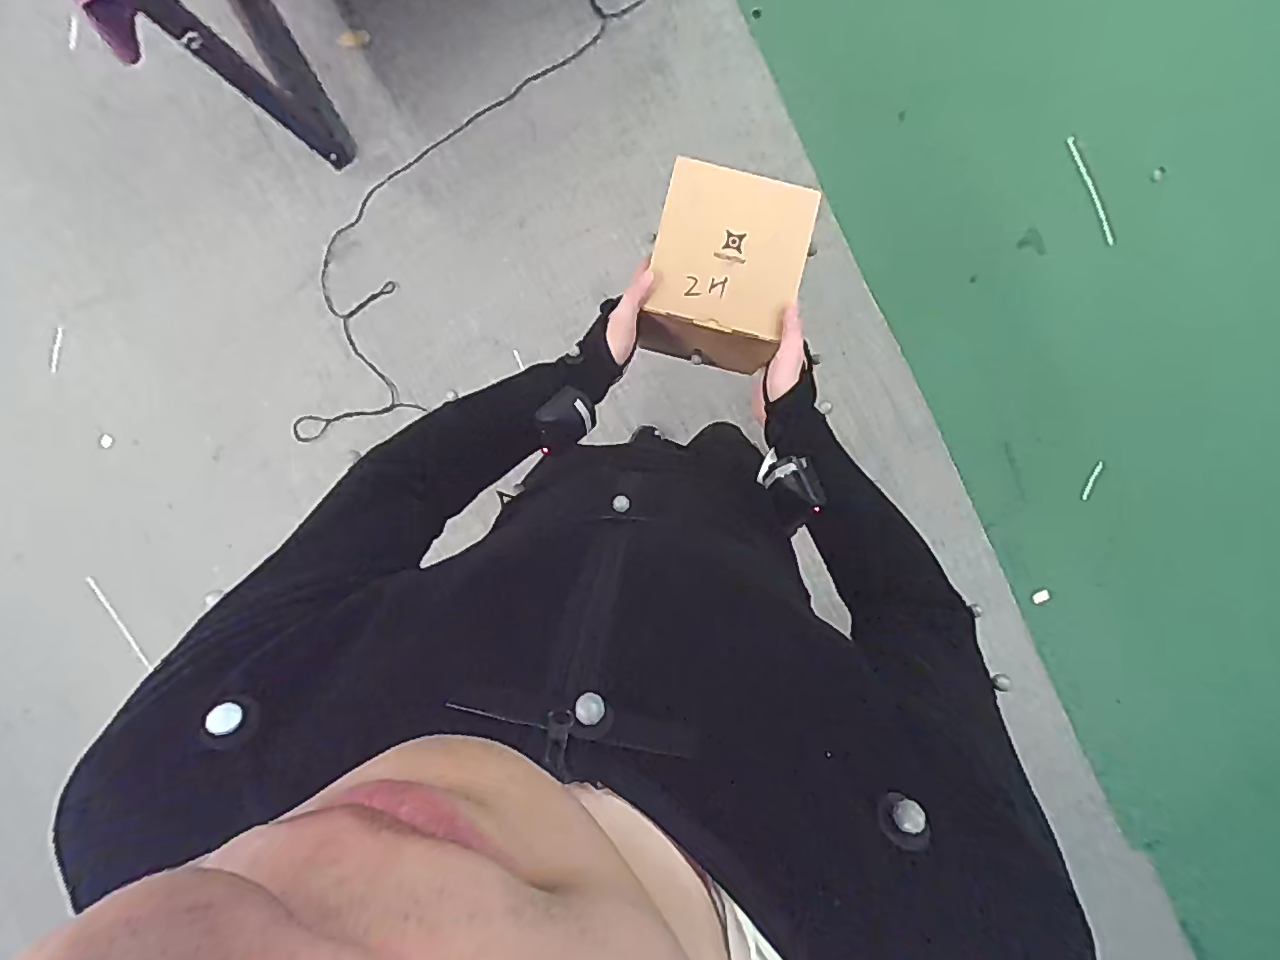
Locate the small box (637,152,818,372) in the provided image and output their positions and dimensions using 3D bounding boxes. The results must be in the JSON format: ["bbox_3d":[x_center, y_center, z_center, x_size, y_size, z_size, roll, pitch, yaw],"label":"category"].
[{"bbox_3d":[0.093,-0.249,0.660,0.168,0.176,0.179,14,89,0],"label":"small box"}]
